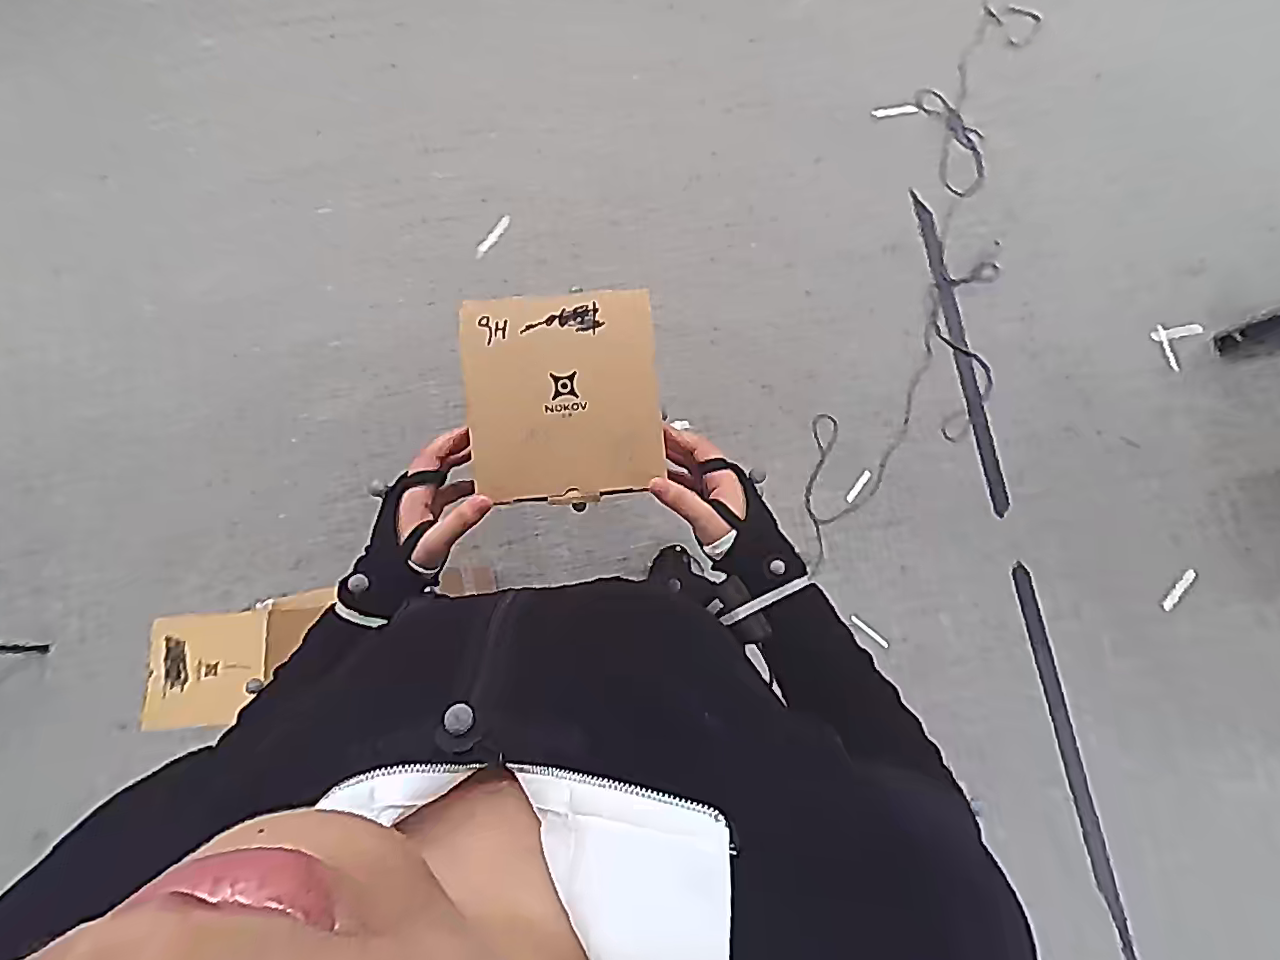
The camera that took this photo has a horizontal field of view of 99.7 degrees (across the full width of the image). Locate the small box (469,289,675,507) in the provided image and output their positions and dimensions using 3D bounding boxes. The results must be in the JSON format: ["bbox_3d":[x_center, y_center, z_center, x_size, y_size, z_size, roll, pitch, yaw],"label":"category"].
[{"bbox_3d":[-0.059,-0.072,0.536,0.168,0.176,0.179,-5,92,-3],"label":"small box"}]

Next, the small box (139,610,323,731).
[{"bbox_3d":[-0.664,0.306,0.898,0.179,0.176,0.168,-4,79,-3],"label":"small box"}]
